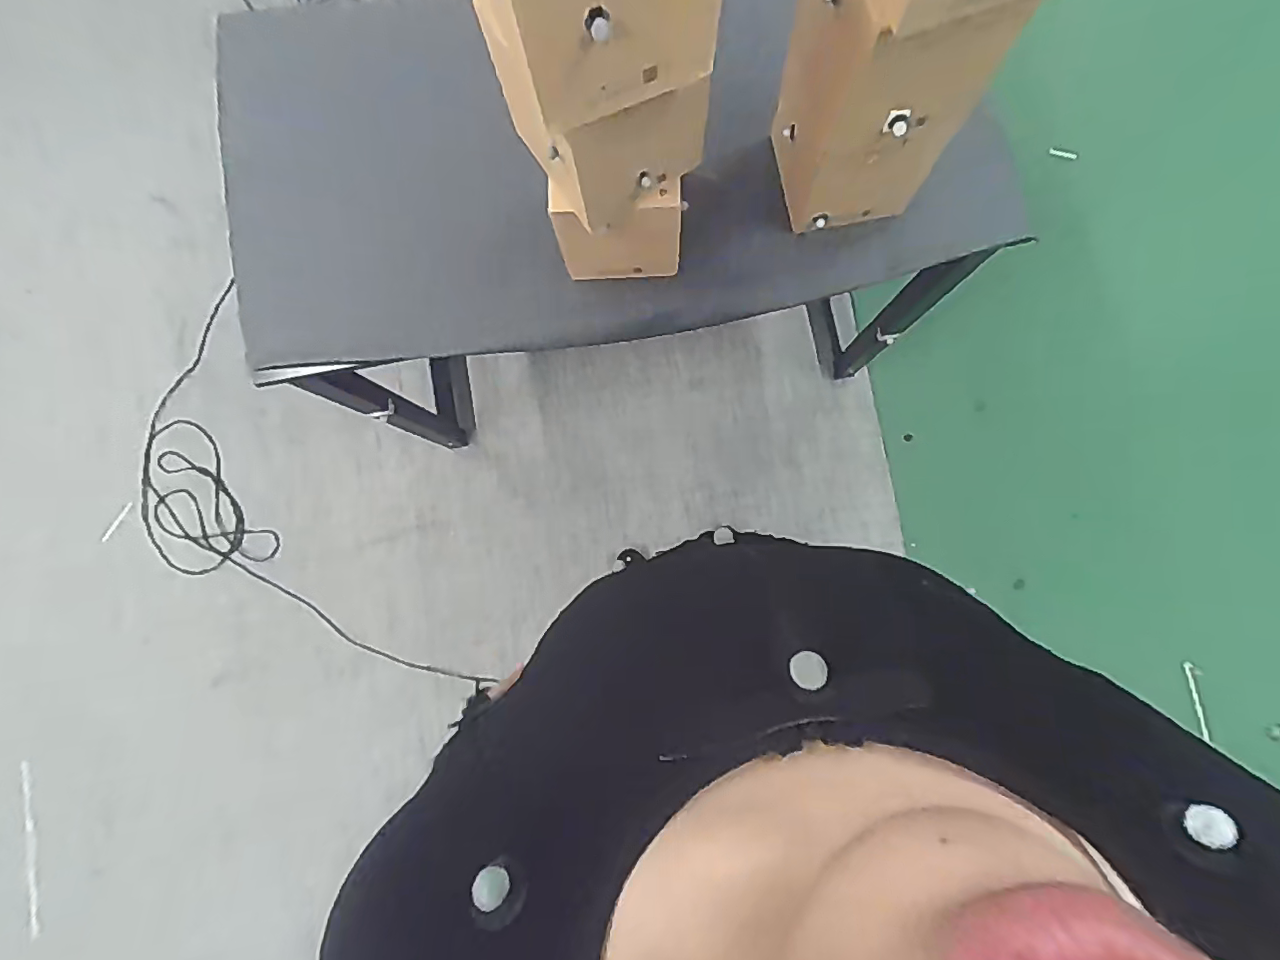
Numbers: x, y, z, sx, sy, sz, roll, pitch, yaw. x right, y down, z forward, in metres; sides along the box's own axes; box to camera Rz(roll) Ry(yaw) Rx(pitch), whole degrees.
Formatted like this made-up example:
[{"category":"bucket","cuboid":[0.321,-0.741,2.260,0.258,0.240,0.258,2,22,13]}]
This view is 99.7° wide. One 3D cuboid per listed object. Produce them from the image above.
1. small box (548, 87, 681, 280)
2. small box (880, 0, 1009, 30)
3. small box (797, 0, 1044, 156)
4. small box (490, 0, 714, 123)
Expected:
[{"category":"small box","cuboid":[-0.030,-0.402,0.749,0.168,0.176,0.179,-2,82,3]},{"category":"small box","cuboid":[0.275,-0.512,0.415,0.168,0.176,0.179,-17,81,2]},{"category":"small box","cuboid":[0.282,-0.497,0.580,0.168,0.176,0.179,-14,82,3]},{"category":"small box","cuboid":[-0.043,-0.423,0.422,0.168,0.176,0.179,-22,83,0]}]
